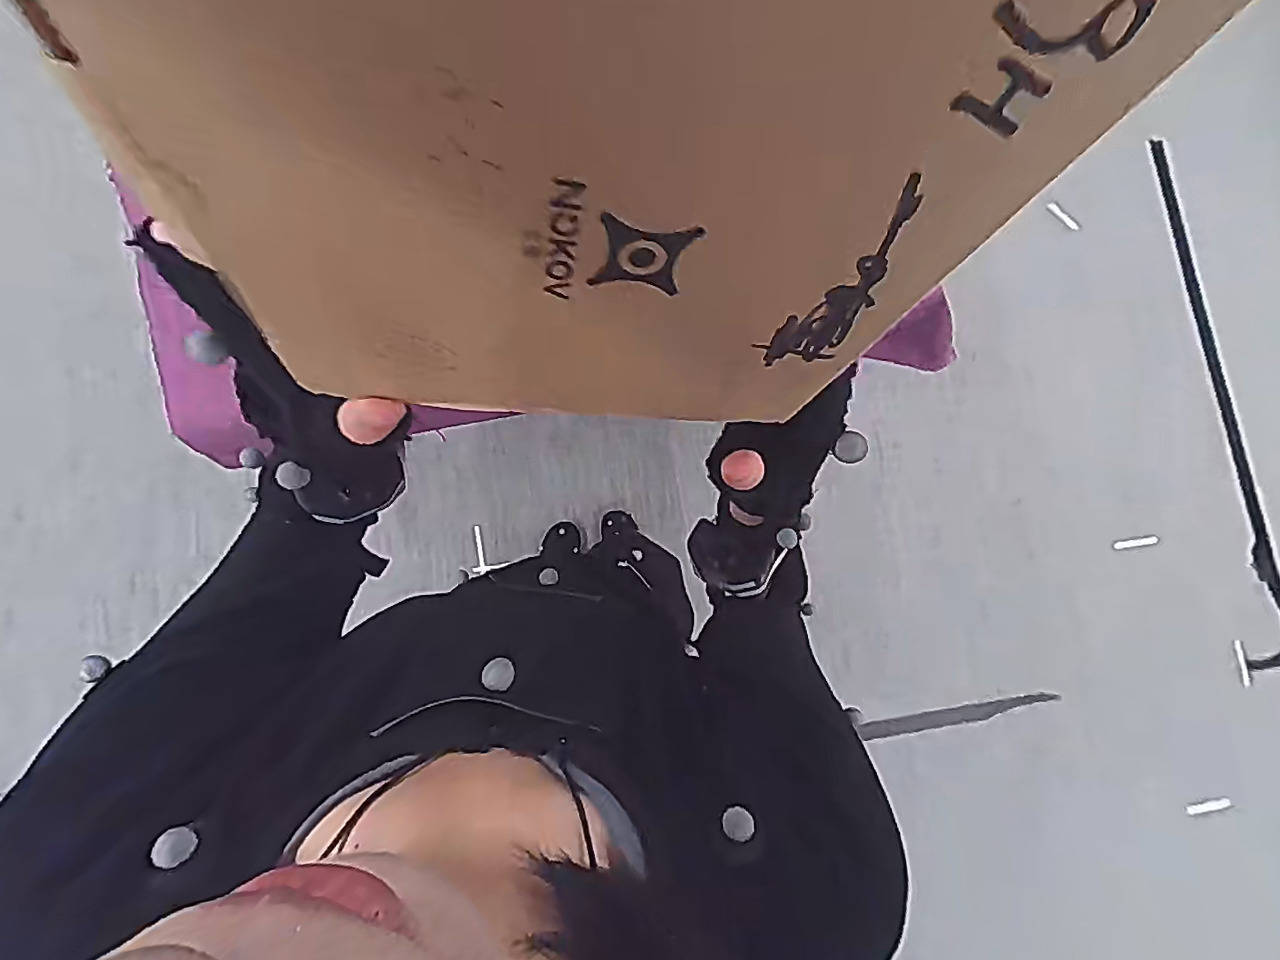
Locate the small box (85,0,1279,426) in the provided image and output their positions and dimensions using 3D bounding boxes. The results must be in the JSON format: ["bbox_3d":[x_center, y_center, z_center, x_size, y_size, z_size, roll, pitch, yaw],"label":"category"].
[{"bbox_3d":[-0.005,-0.132,0.145,0.179,0.168,0.176,3,70,-14],"label":"small box"}]
